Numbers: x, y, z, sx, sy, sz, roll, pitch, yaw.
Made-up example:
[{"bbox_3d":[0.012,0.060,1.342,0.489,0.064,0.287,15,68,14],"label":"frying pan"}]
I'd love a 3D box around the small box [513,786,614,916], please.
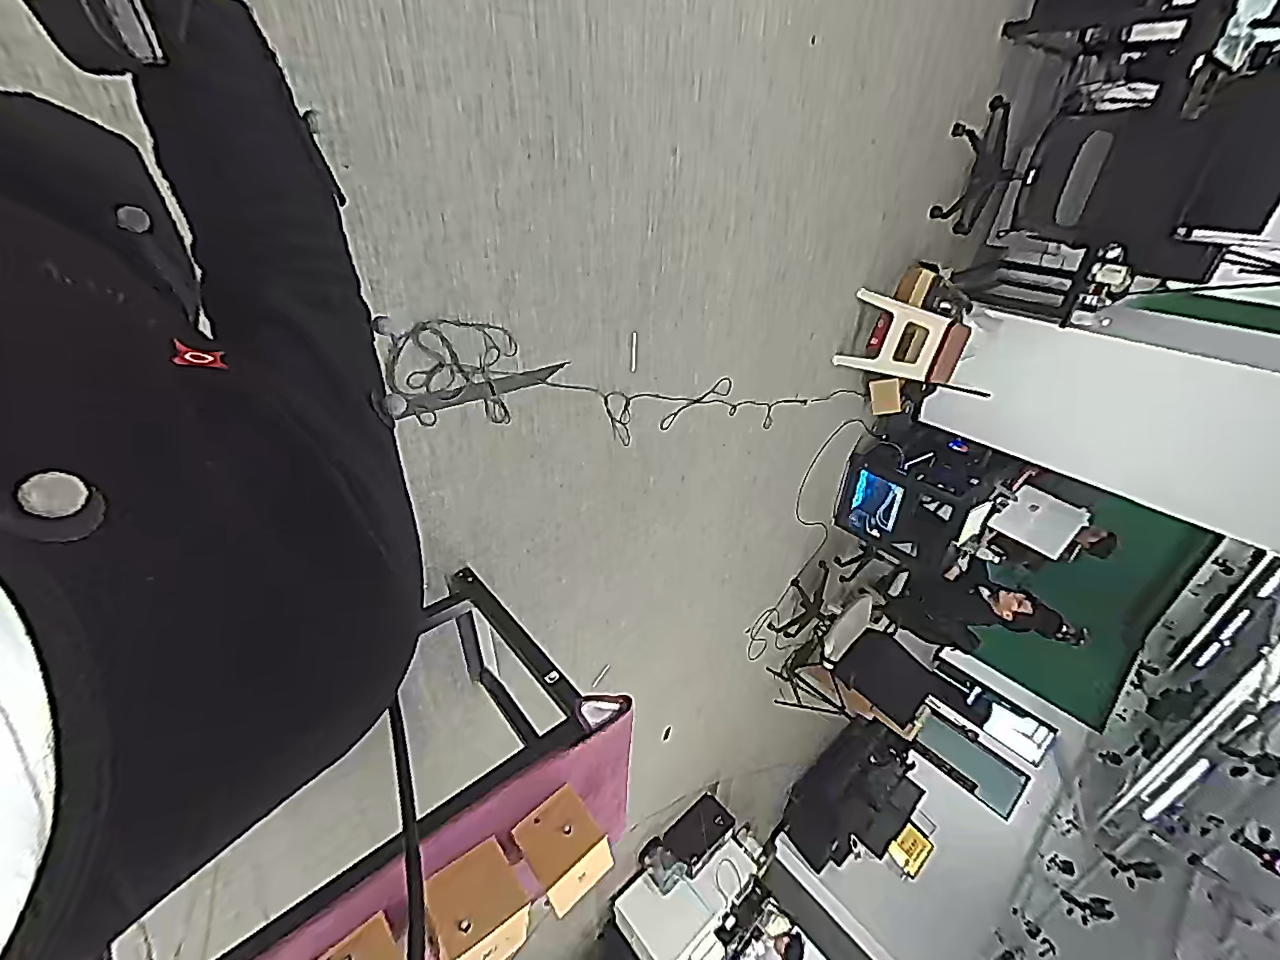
[{"bbox_3d":[-0.185,0.882,1.303,0.168,0.176,0.179,-30,133,-29],"label":"small box"}]
